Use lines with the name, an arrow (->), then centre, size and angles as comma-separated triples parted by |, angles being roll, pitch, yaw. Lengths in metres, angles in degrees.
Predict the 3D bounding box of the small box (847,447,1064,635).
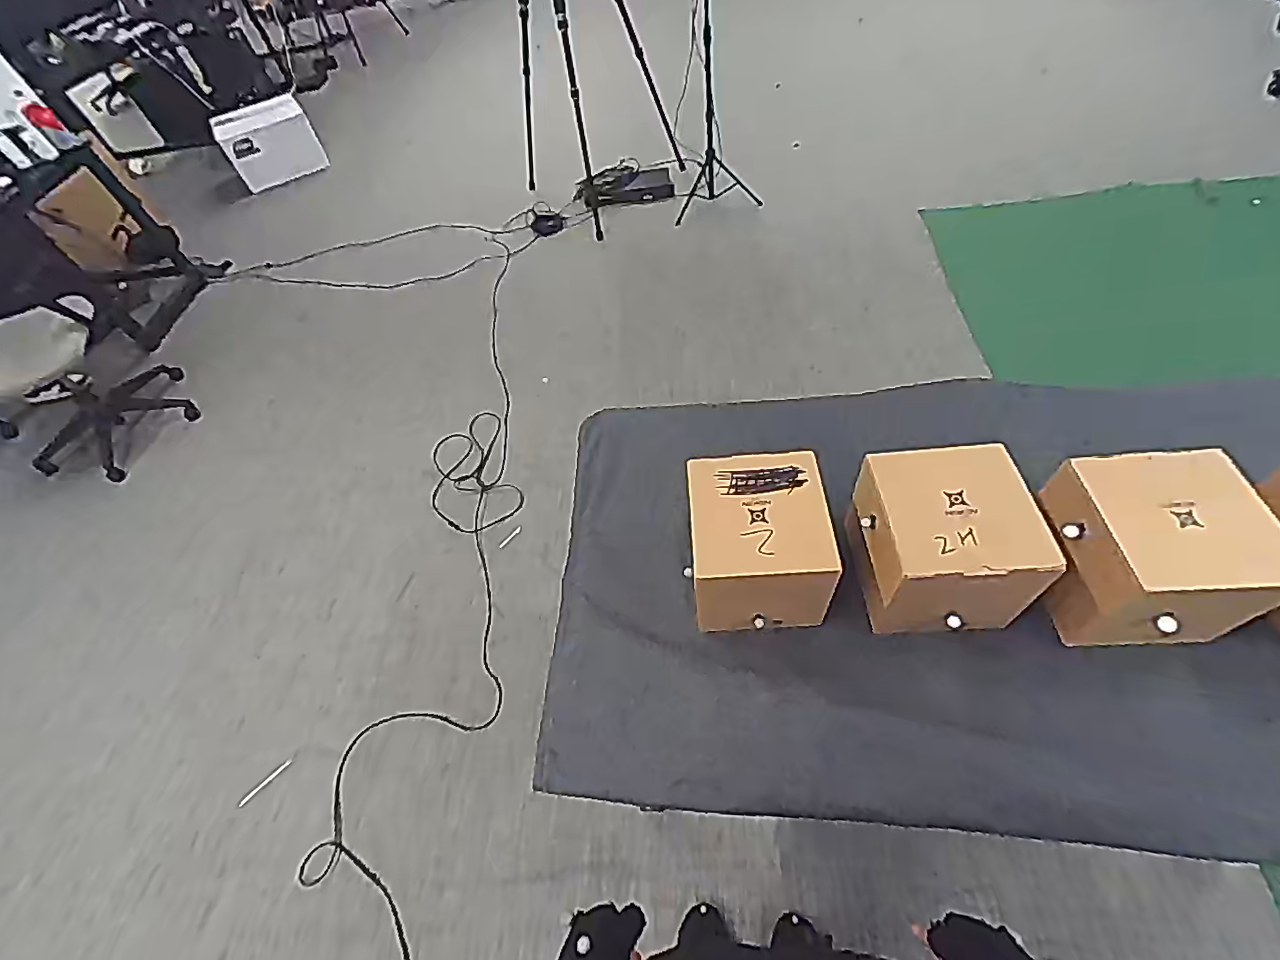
small box -> 0.373, 0.080, 0.684 | 0.168, 0.176, 0.179 | -4, 53, 7

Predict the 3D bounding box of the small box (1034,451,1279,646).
small box -> 0.595, 0.090, 0.642 | 0.168, 0.176, 0.179 | -4, 52, 7
